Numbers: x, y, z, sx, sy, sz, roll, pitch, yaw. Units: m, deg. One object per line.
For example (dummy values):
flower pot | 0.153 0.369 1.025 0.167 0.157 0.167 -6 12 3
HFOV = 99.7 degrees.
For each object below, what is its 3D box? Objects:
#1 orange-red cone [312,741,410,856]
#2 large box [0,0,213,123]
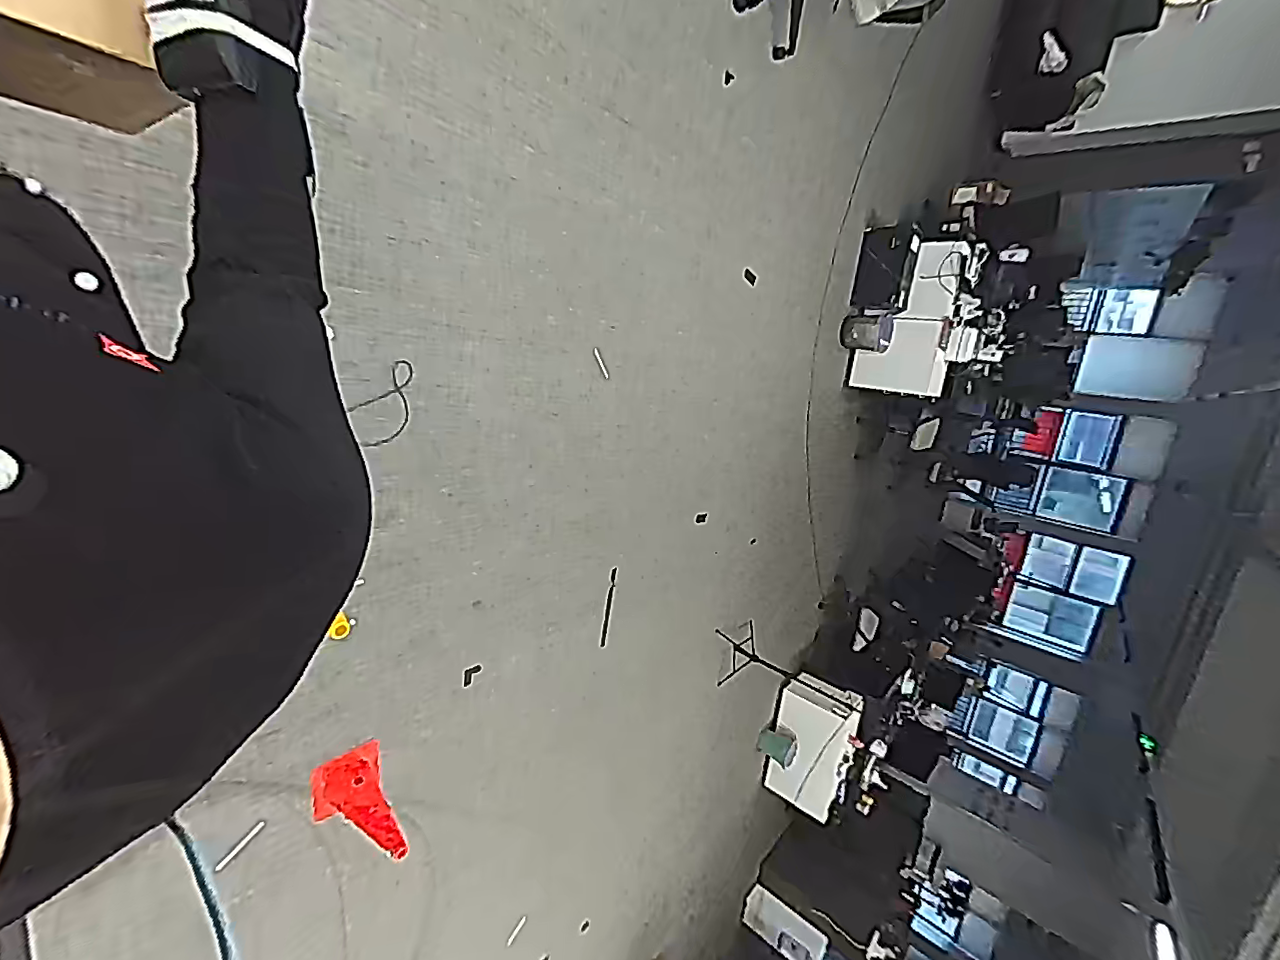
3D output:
orange-red cone | -0.786 0.975 1.587 0.198 0.360 0.199 -11 111 -50
large box | -0.532 -0.458 0.295 0.408 0.320 0.320 -9 113 -51
